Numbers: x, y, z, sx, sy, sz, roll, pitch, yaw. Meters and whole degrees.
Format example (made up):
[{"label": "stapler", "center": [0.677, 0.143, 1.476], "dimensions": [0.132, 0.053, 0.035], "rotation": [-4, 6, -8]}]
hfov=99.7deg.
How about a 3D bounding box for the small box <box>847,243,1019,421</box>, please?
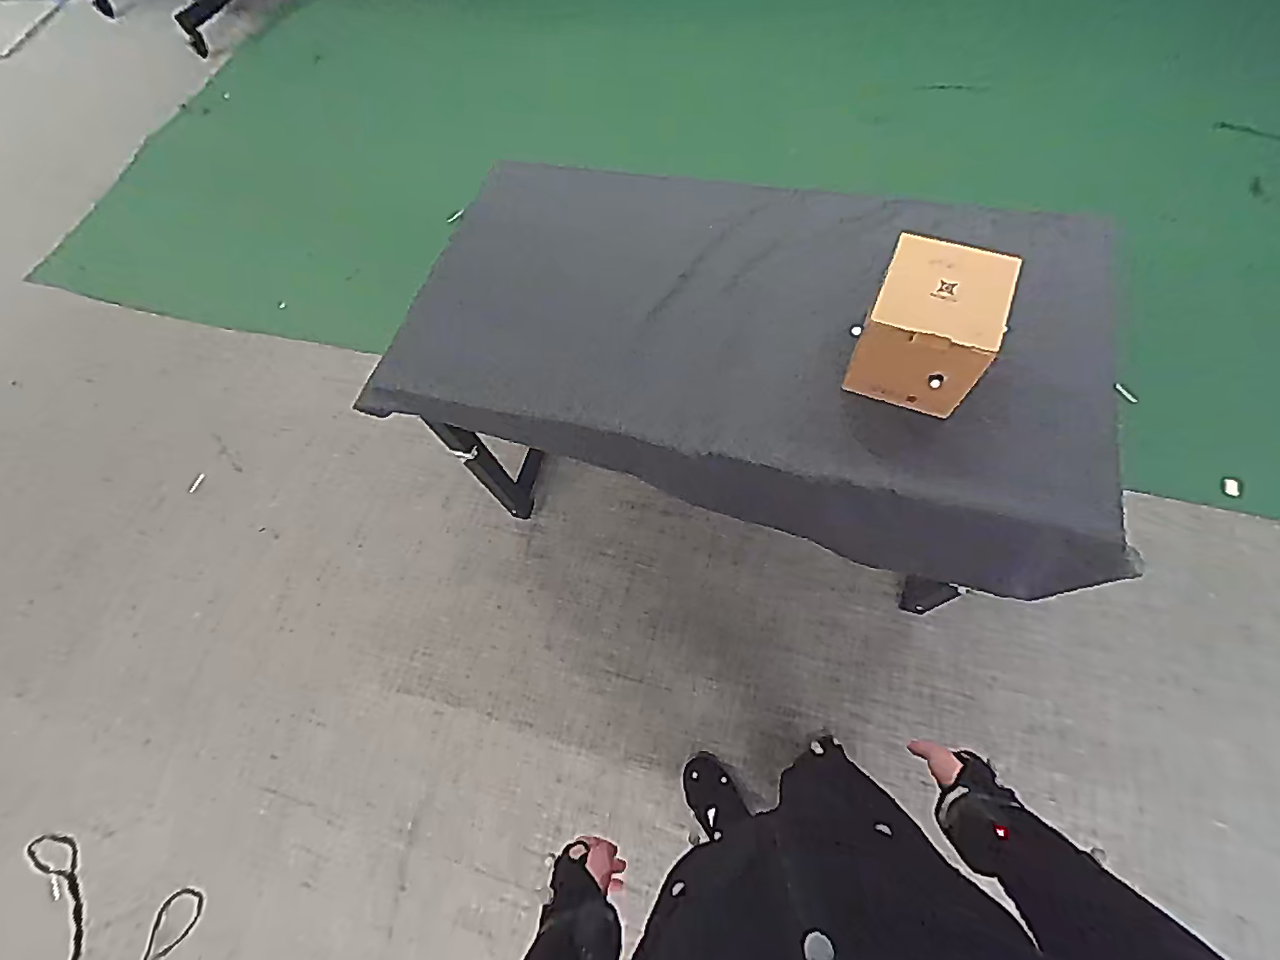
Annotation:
[{"label": "small box", "center": [0.431, -0.217, 0.822], "dimensions": [0.168, 0.176, 0.179], "rotation": [21, 68, 14]}]
